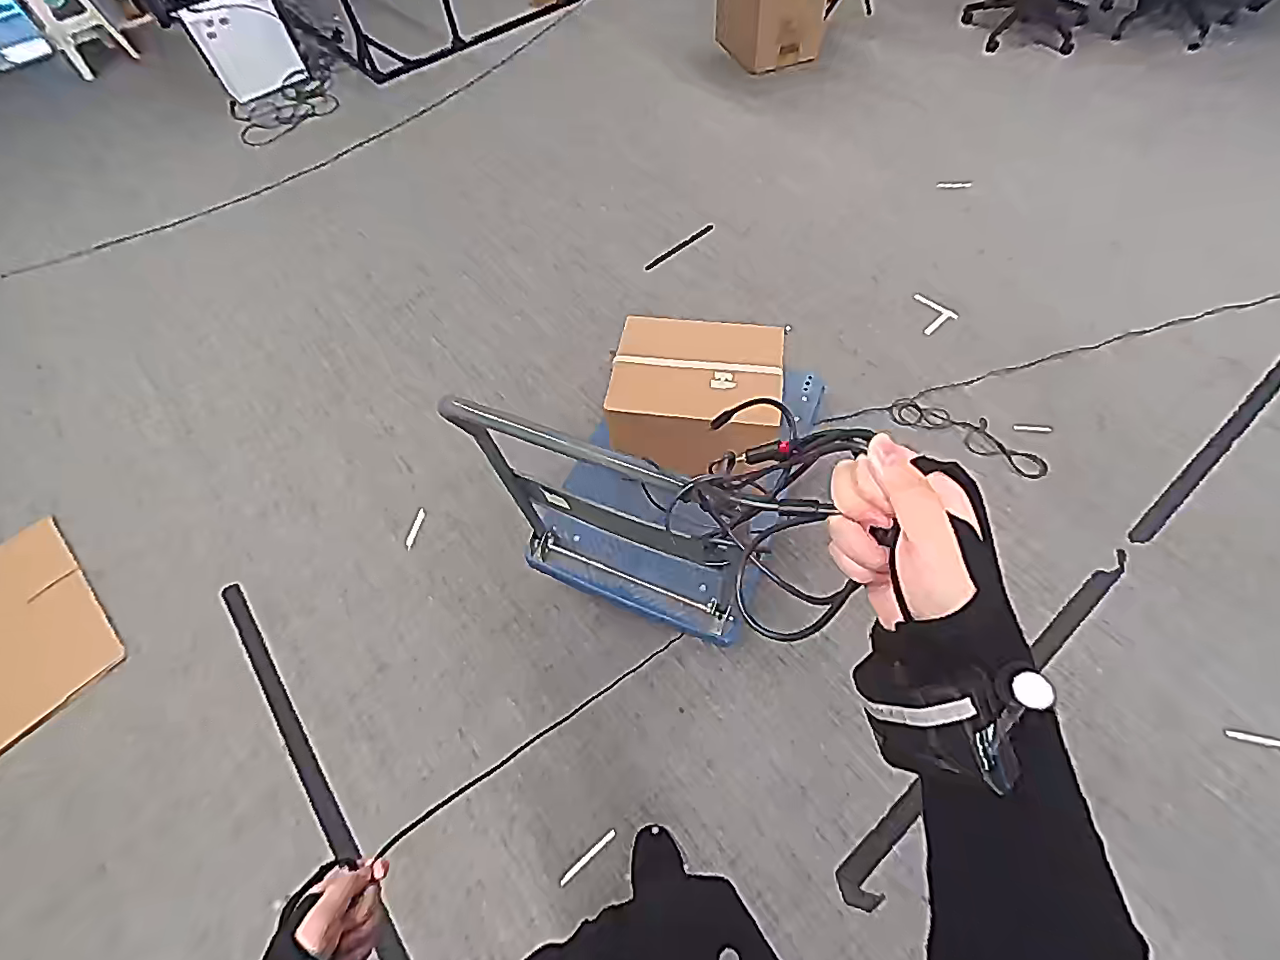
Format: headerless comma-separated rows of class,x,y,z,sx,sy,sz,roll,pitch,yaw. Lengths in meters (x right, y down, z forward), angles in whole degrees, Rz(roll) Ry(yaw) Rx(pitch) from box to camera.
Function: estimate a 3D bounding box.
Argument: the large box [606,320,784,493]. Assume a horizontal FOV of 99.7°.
large box,0.145,-0.188,1.419,0.408,0.320,0.320,7,60,8
